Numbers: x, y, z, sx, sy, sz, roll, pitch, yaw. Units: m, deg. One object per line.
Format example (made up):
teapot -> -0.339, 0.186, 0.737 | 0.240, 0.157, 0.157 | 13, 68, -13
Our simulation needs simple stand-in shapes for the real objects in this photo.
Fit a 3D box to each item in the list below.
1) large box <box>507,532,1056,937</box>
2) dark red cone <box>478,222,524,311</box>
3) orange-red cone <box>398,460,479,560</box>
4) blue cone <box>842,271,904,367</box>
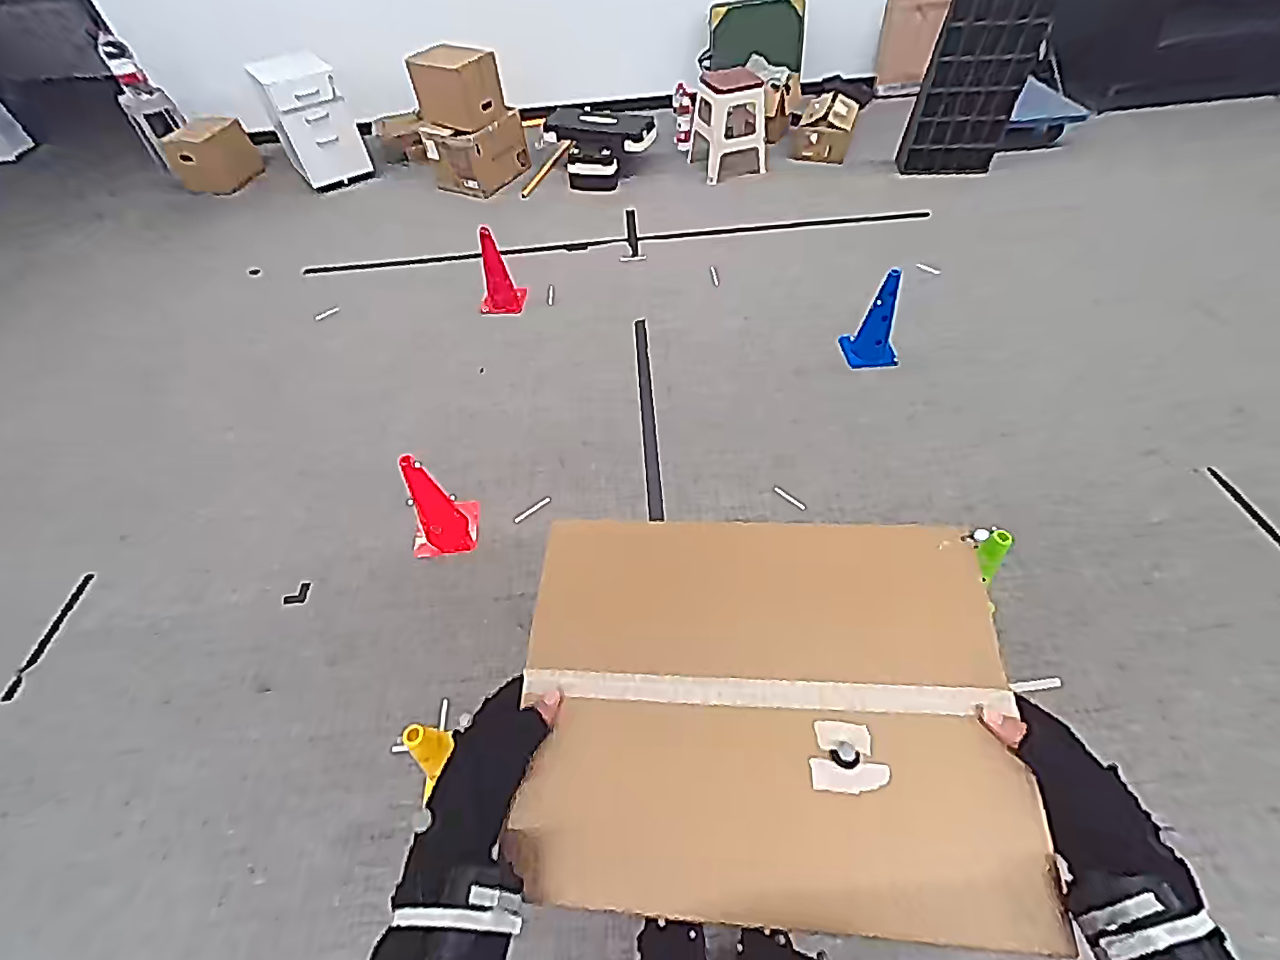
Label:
large box -> 0.112, 0.261, 0.594 | 0.408, 0.320, 0.320 | 0, 61, 6
dark red cone -> -0.664, -0.965, 2.444 | 0.201, 0.394, 0.202 | 0, 52, 3
orange-red cone -> -0.645, 0.066, 1.651 | 0.198, 0.360, 0.199 | -8, 53, -1
blue cone -> 0.938, -0.633, 2.107 | 0.192, 0.380, 0.193 | -2, 52, 1
